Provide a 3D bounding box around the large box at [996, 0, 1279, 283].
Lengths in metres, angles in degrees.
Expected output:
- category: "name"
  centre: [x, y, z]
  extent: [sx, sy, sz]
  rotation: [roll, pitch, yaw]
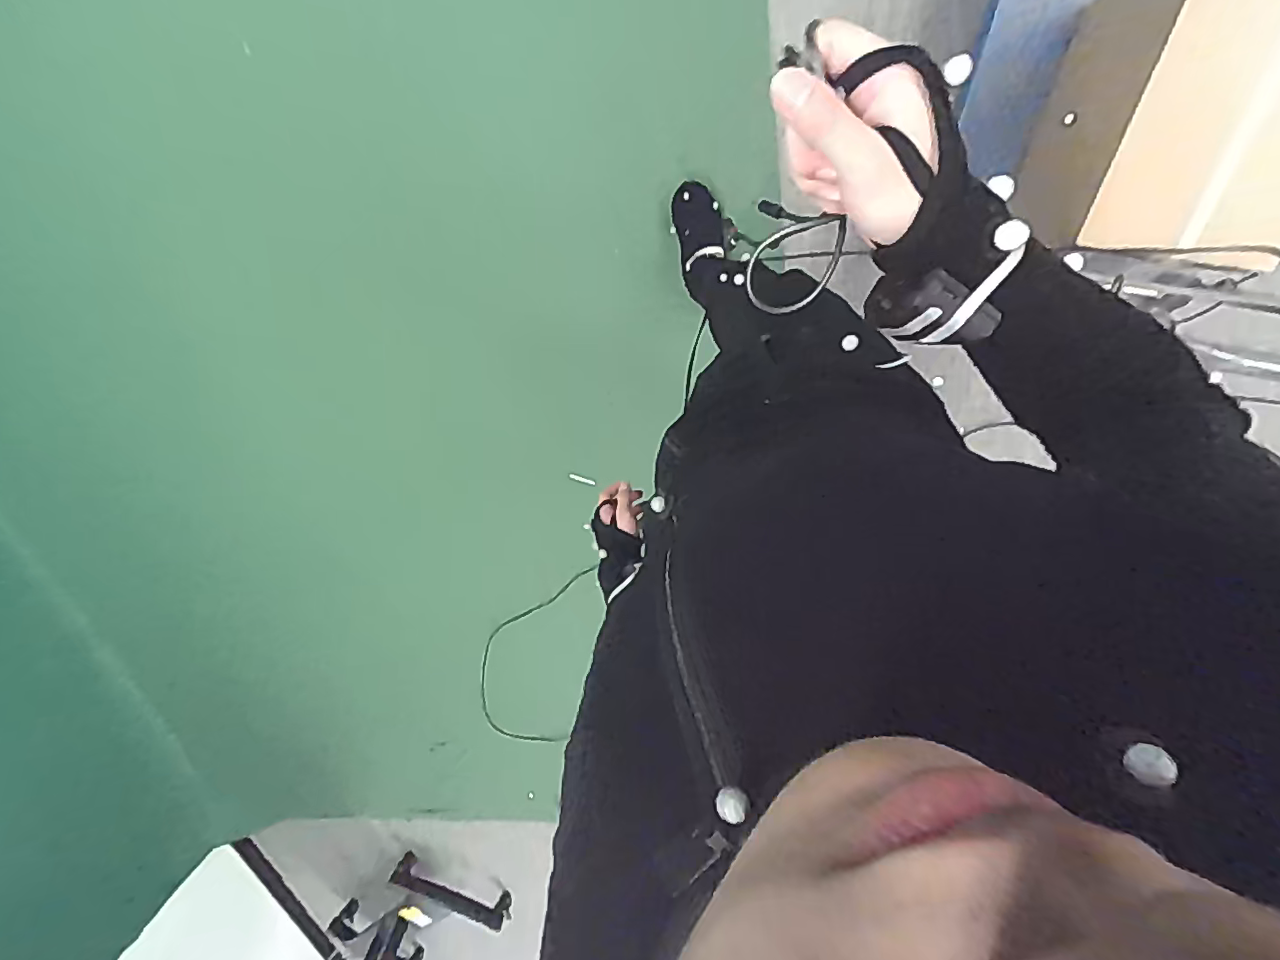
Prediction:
- category: "large box"
  centre: [0.911, -0.581, 0.938]
  extent: [0.320, 0.320, 0.408]
  rotation: [11, 115, 3]
